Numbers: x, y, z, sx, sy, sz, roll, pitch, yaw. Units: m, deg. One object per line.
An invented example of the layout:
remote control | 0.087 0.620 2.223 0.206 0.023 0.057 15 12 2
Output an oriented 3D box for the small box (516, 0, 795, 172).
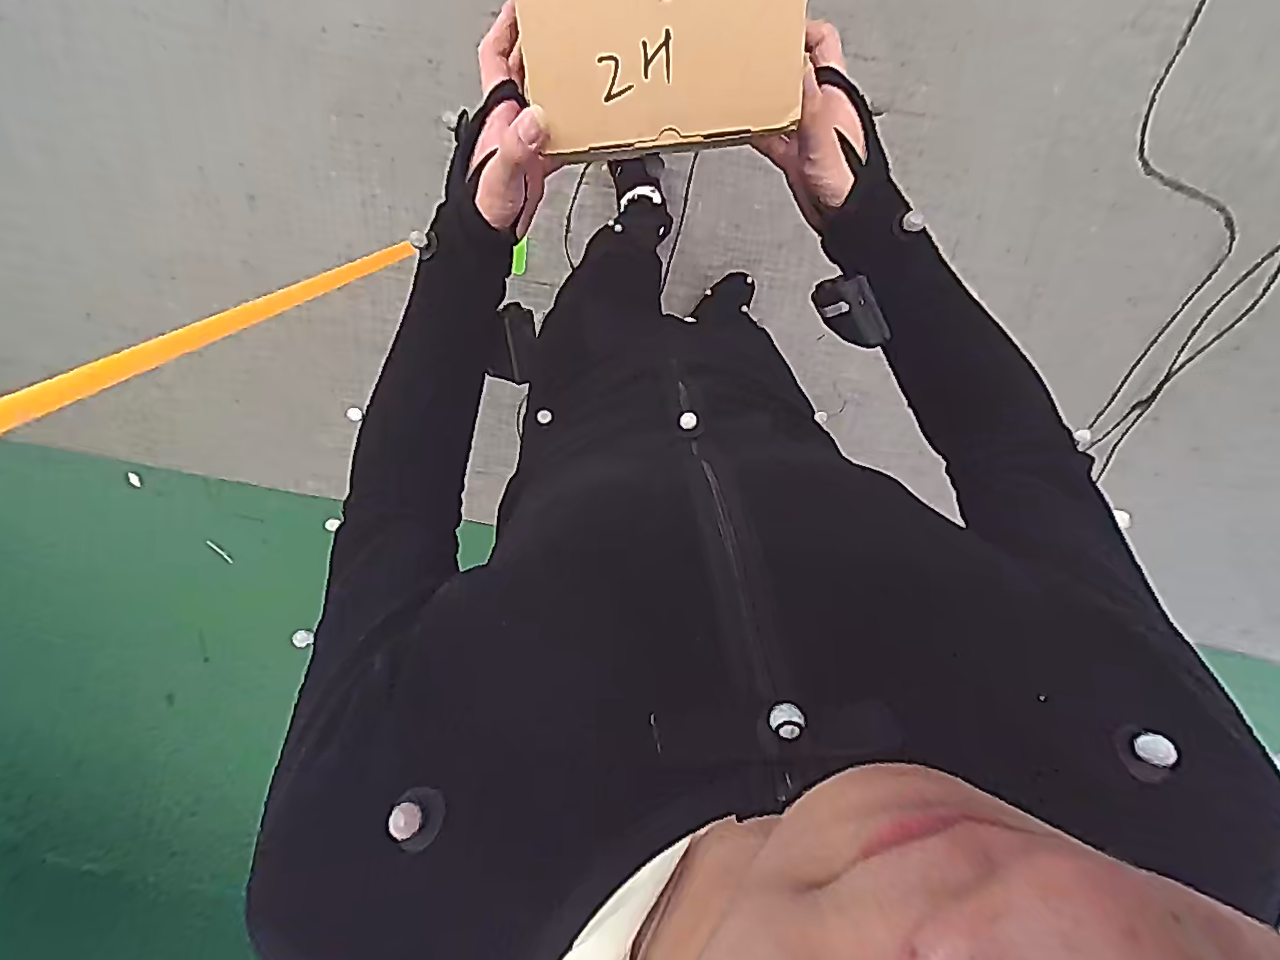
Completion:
small box | 0.005 -0.325 0.378 0.168 0.176 0.179 -6 119 1

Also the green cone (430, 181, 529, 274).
green cone | -0.411 -0.583 1.280 0.202 0.368 0.200 11 119 -1
